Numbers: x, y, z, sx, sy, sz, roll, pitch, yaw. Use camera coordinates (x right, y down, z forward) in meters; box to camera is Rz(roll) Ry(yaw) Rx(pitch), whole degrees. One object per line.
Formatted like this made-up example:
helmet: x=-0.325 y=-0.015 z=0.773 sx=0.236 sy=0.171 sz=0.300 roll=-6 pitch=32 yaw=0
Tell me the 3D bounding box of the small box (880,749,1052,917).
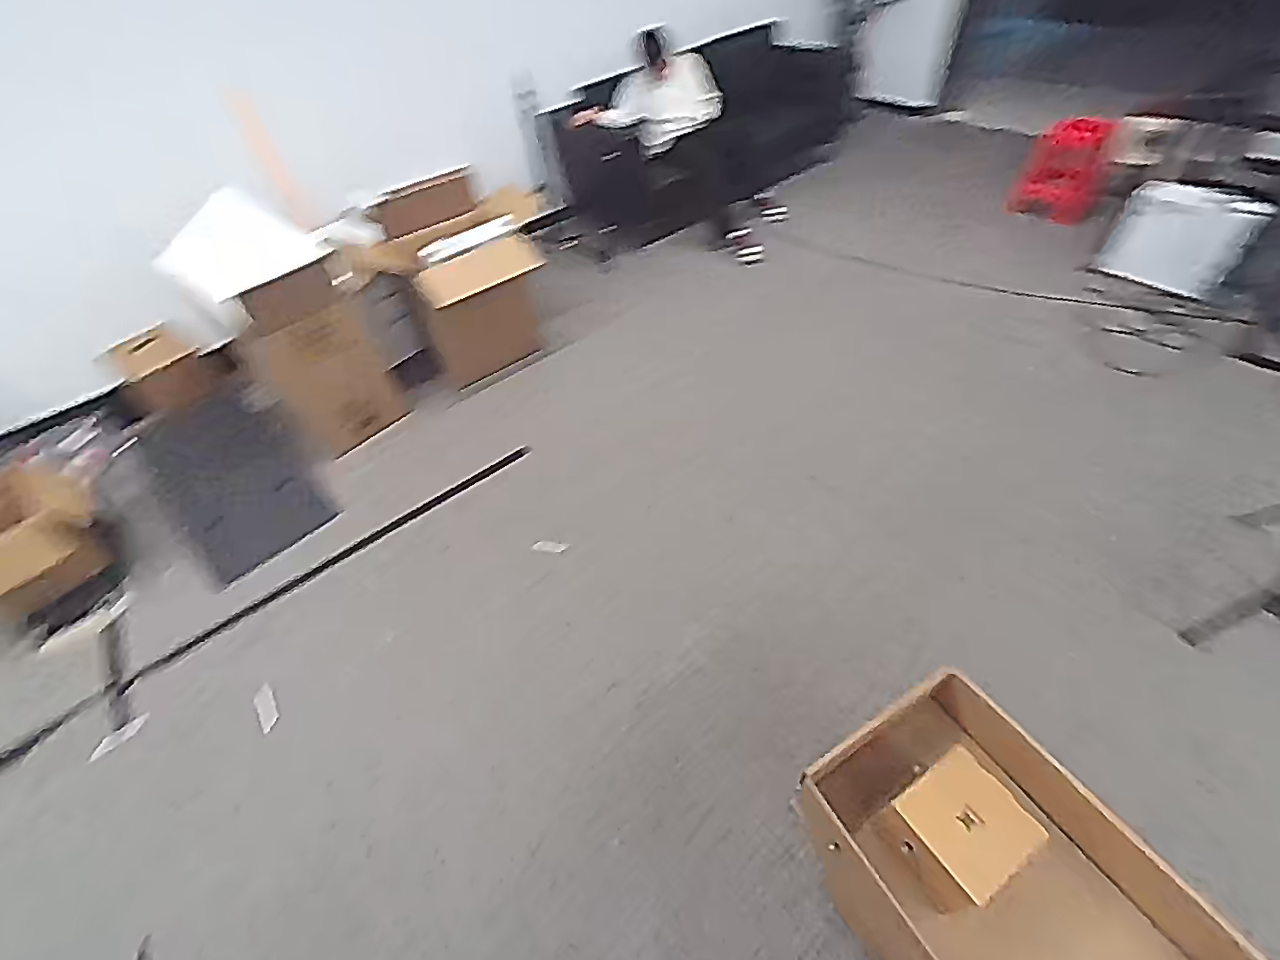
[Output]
small box: x=0.541 y=0.608 z=0.928 sx=0.179 sy=0.176 sz=0.168 roll=-26 pitch=50 yaw=-18
